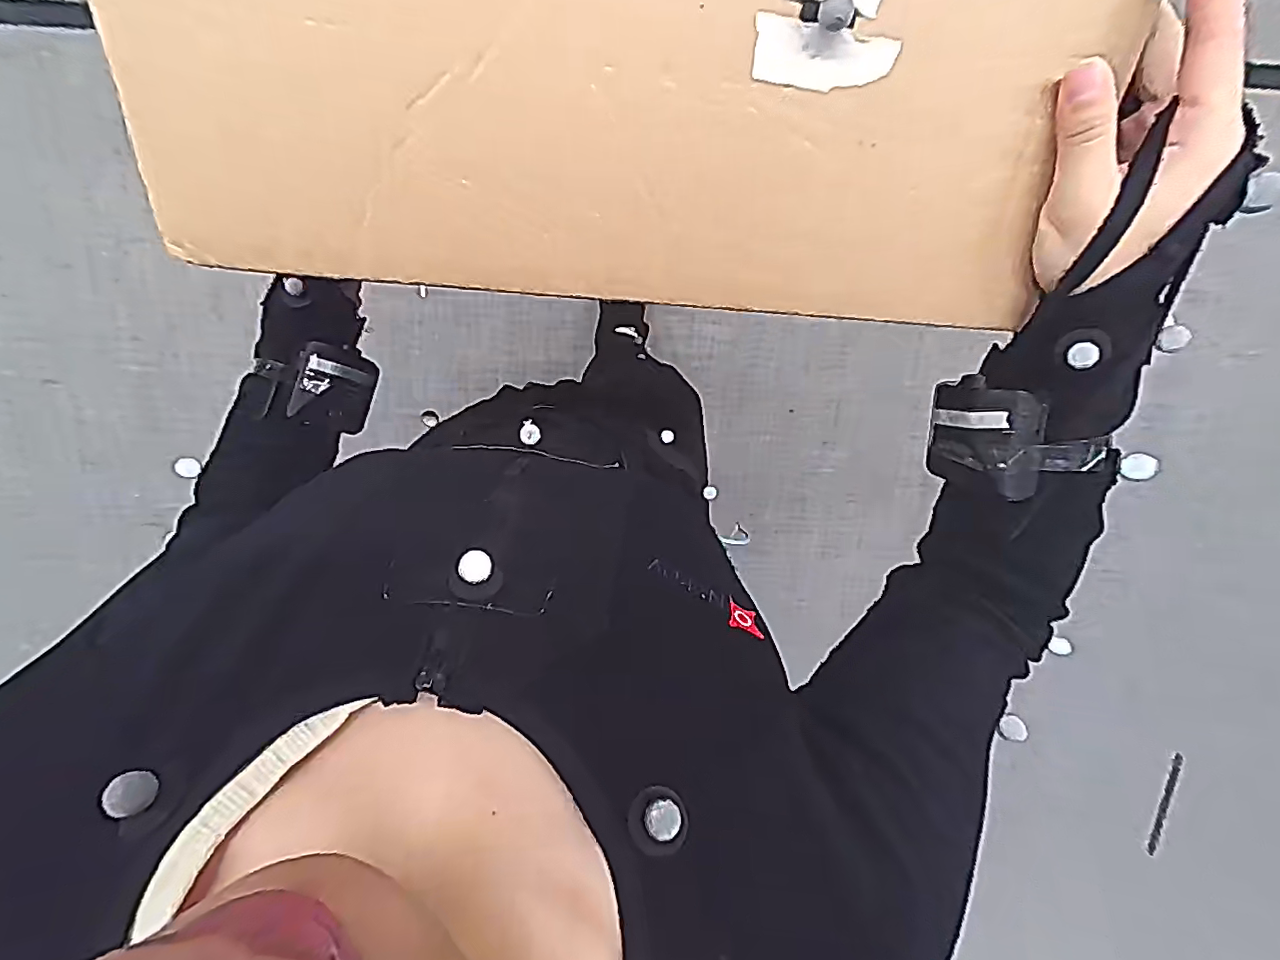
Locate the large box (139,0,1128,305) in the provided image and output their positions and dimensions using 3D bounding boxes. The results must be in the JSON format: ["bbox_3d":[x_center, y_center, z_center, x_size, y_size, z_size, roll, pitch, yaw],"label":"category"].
[{"bbox_3d":[-0.002,-0.298,0.331,0.408,0.320,0.320,2,117,-7],"label":"large box"}]
